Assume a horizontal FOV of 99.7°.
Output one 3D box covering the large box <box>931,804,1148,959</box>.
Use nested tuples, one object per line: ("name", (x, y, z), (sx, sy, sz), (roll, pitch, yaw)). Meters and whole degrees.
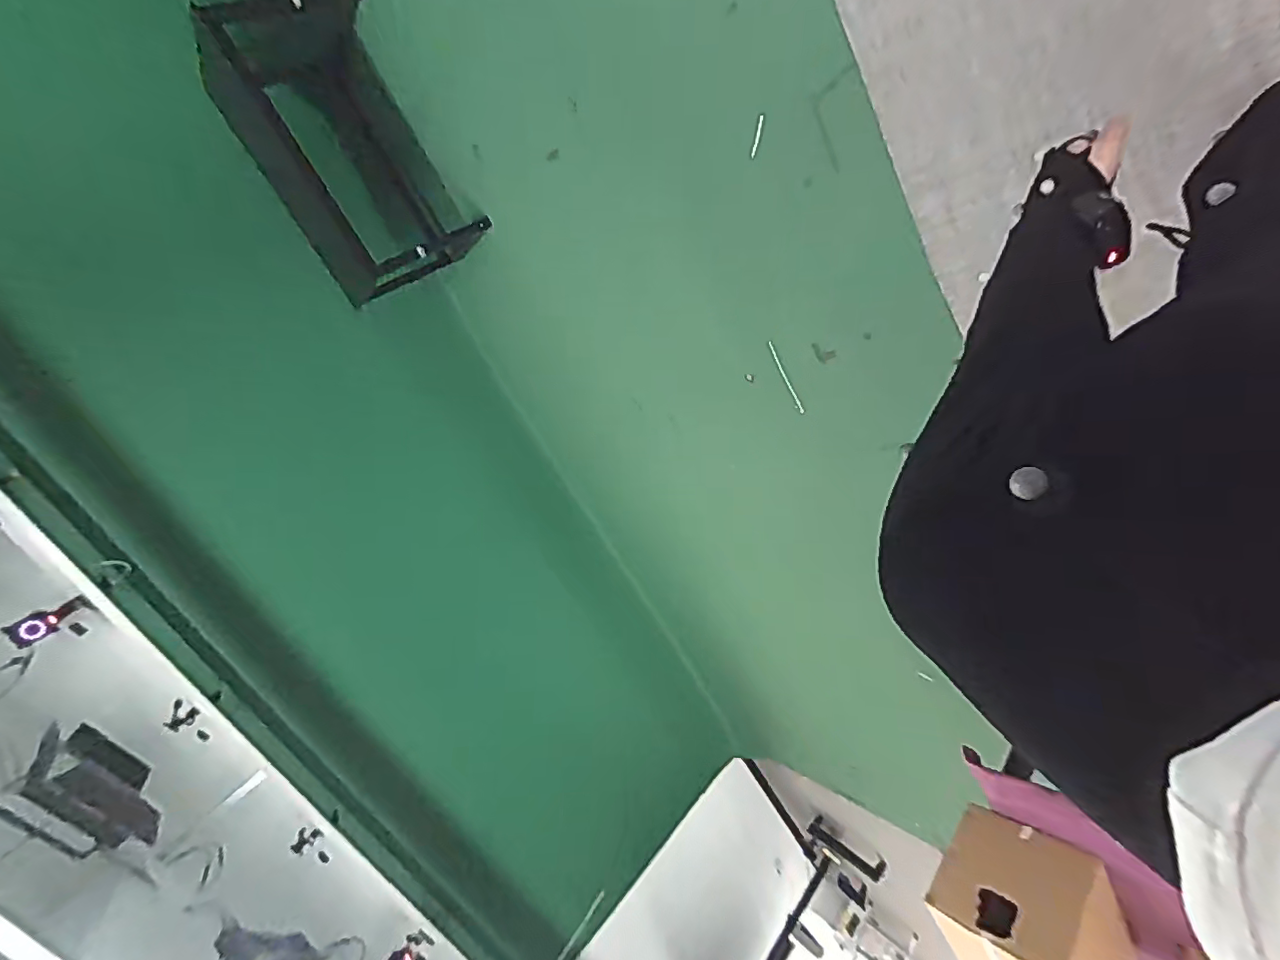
("large box", (1.043, 1.165, 1.409), (0.320, 0.320, 0.408), (-6, 119, 56))
